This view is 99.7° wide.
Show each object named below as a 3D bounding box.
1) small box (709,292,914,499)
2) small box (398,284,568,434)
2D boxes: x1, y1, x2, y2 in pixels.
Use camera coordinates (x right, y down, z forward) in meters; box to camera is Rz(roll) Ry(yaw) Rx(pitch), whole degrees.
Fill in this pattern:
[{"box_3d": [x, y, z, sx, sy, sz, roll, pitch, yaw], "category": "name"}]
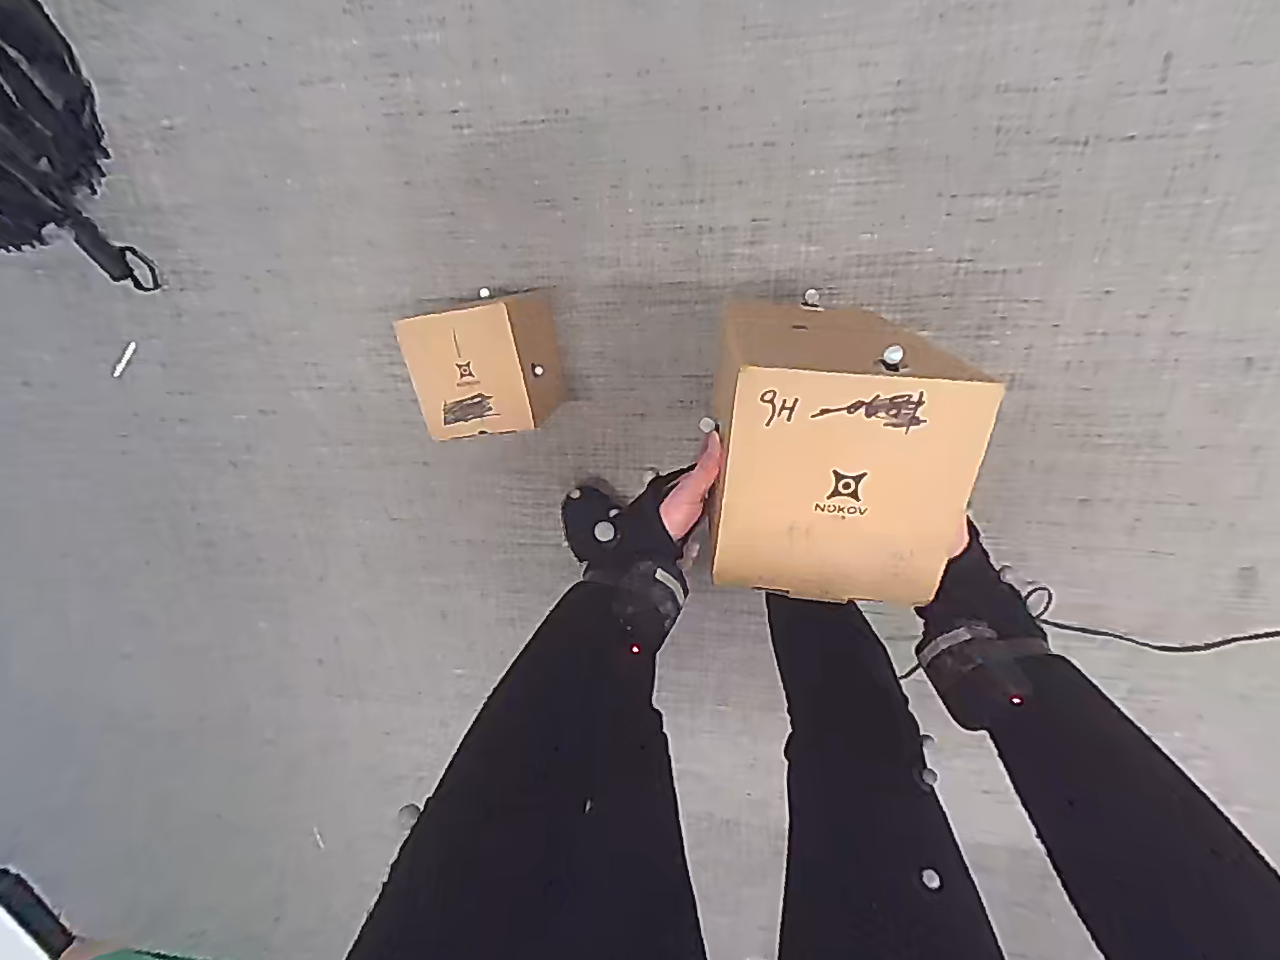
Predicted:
[{"box_3d": [0.167, -0.100, 0.590, 0.168, 0.176, 0.179, 5, 115, 5], "category": "small box"}, {"box_3d": [-0.218, -0.183, 0.807, 0.168, 0.176, 0.179, -4, 114, 12], "category": "small box"}]
